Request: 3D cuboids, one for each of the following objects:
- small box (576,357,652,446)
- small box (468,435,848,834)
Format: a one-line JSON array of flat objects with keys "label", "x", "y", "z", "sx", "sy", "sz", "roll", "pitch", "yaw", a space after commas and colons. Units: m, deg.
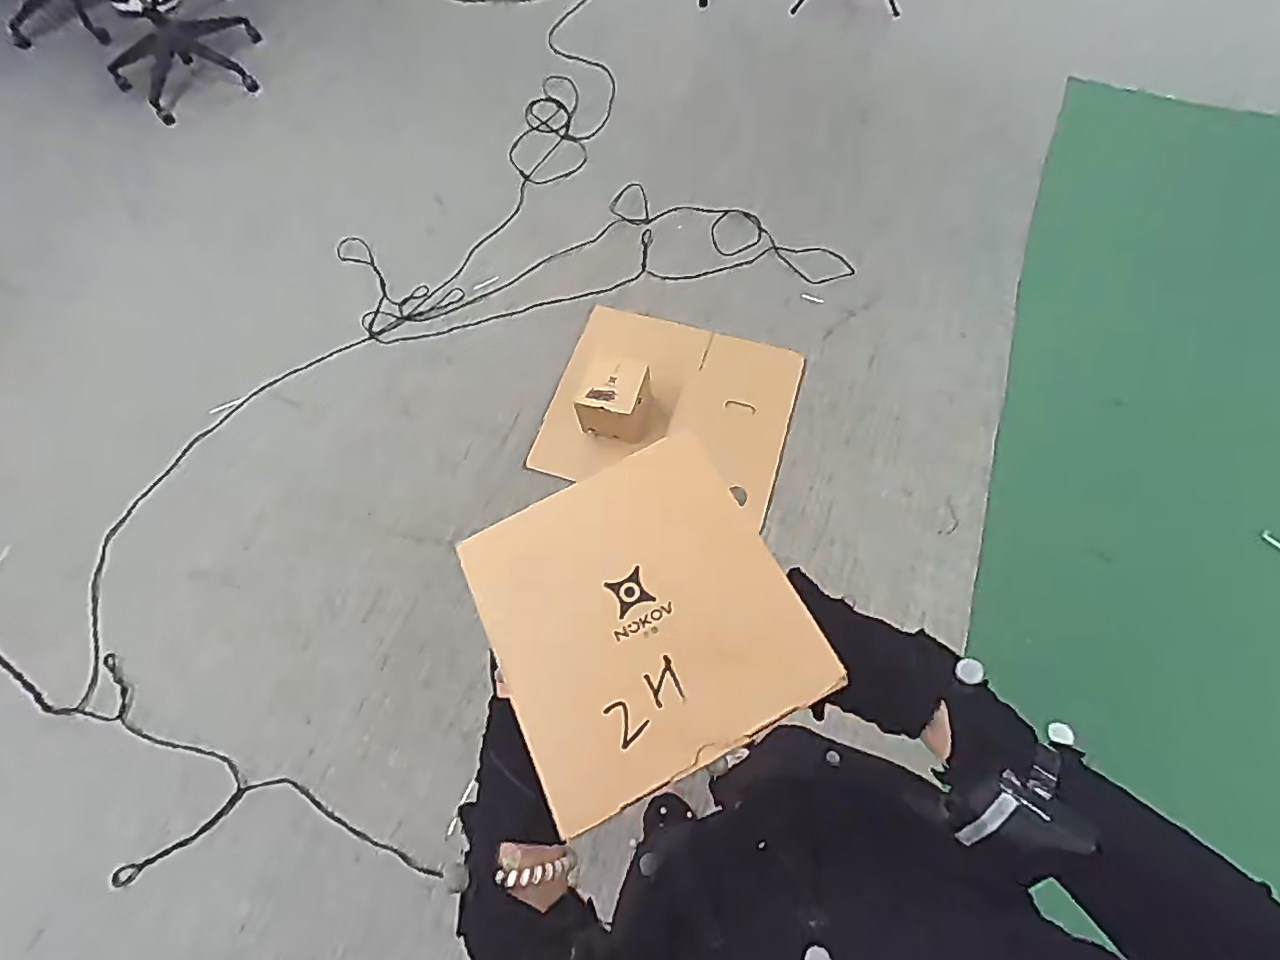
[{"label": "small box", "x": -0.065, "y": -0.218, "z": 1.539, "sx": 0.168, "sy": 0.176, "sz": 0.179, "roll": 14, "pitch": 68, "yaw": 10}, {"label": "small box", "x": 0.010, "y": 0.106, "z": 0.380, "sx": 0.168, "sy": 0.176, "sz": 0.179, "roll": -27, "pitch": 65, "yaw": -4}]
